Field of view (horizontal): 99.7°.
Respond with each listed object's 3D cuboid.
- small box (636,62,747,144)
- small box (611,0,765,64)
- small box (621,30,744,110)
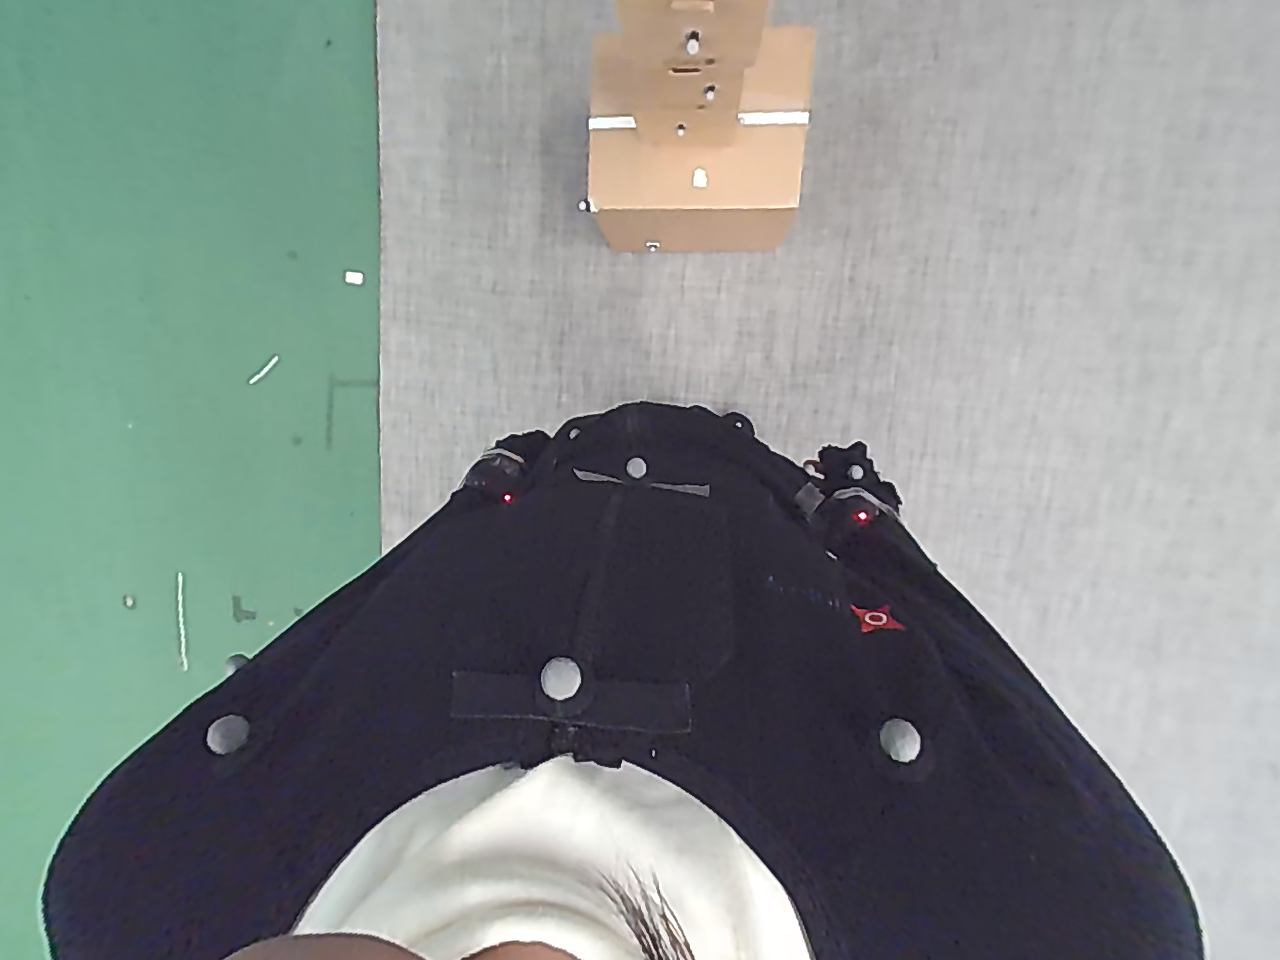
[{"bbox_3d":[0.089,-0.690,0.919,0.179,0.176,0.168,2,105,7],"label":"small box"},{"bbox_3d":[0.062,-0.601,0.607,0.168,0.176,0.179,4,106,6],"label":"small box"},{"bbox_3d":[0.068,-0.650,0.763,0.168,0.176,0.179,3,104,5],"label":"small box"}]
